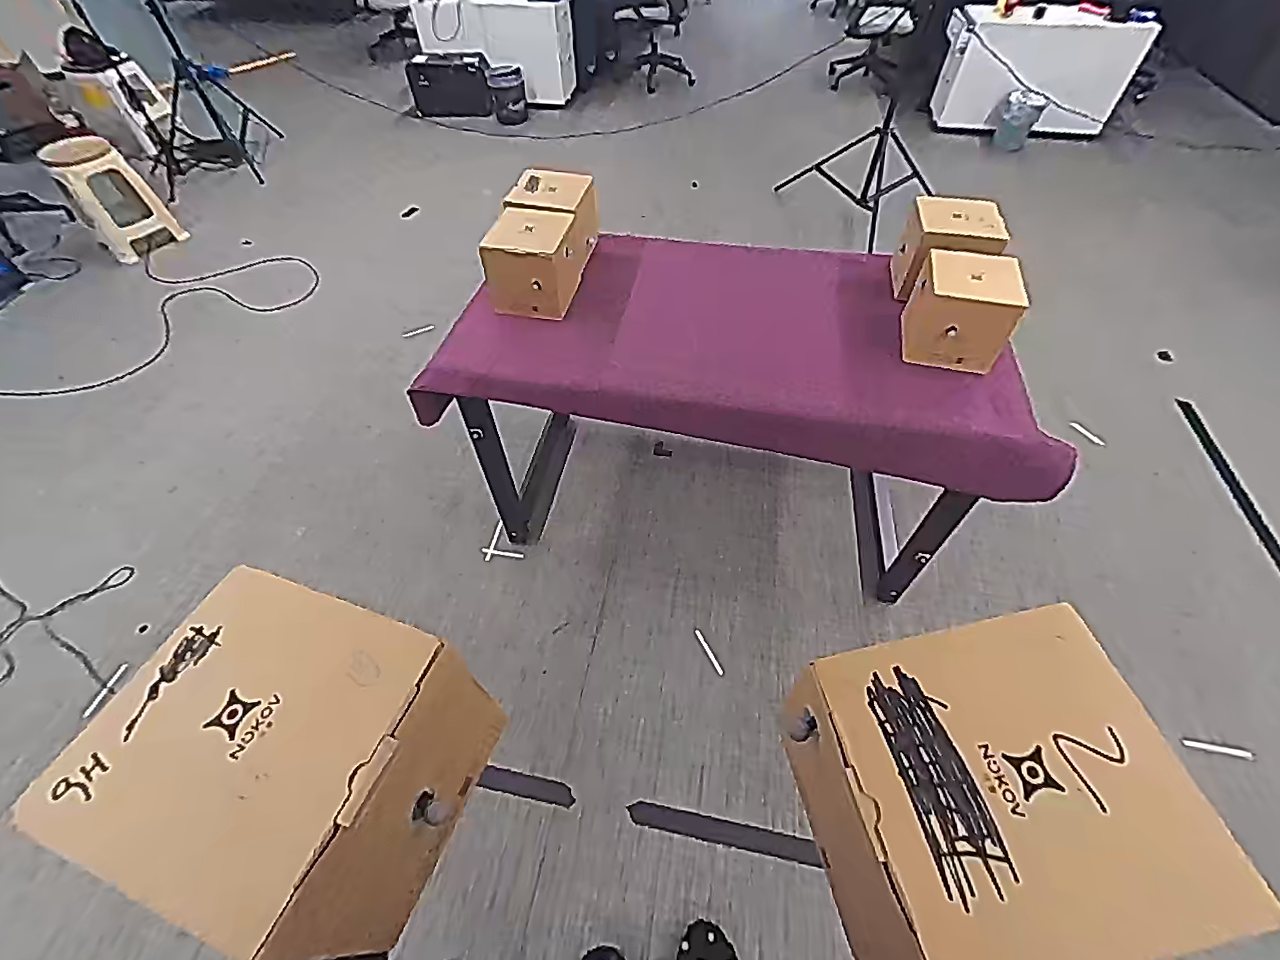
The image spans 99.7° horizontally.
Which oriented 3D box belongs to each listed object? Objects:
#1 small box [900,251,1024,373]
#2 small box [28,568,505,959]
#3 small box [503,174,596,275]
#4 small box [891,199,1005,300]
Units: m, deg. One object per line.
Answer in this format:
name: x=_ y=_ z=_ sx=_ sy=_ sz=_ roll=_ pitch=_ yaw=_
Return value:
small box: x=0.652 y=-0.344 z=1.117 sx=0.168 sy=0.176 sz=0.179 roll=11 pitch=52 yaw=11
small box: x=-0.218 y=0.192 z=0.377 sx=0.179 sy=0.176 sz=0.168 roll=15 pitch=54 yaw=14
small box: x=-0.216 y=-0.634 z=1.348 sx=0.179 sy=0.176 sz=0.168 roll=11 pitch=55 yaw=7
small box: x=0.694 y=-0.521 z=1.246 sx=0.179 sy=0.176 sz=0.168 roll=9 pitch=54 yaw=7
